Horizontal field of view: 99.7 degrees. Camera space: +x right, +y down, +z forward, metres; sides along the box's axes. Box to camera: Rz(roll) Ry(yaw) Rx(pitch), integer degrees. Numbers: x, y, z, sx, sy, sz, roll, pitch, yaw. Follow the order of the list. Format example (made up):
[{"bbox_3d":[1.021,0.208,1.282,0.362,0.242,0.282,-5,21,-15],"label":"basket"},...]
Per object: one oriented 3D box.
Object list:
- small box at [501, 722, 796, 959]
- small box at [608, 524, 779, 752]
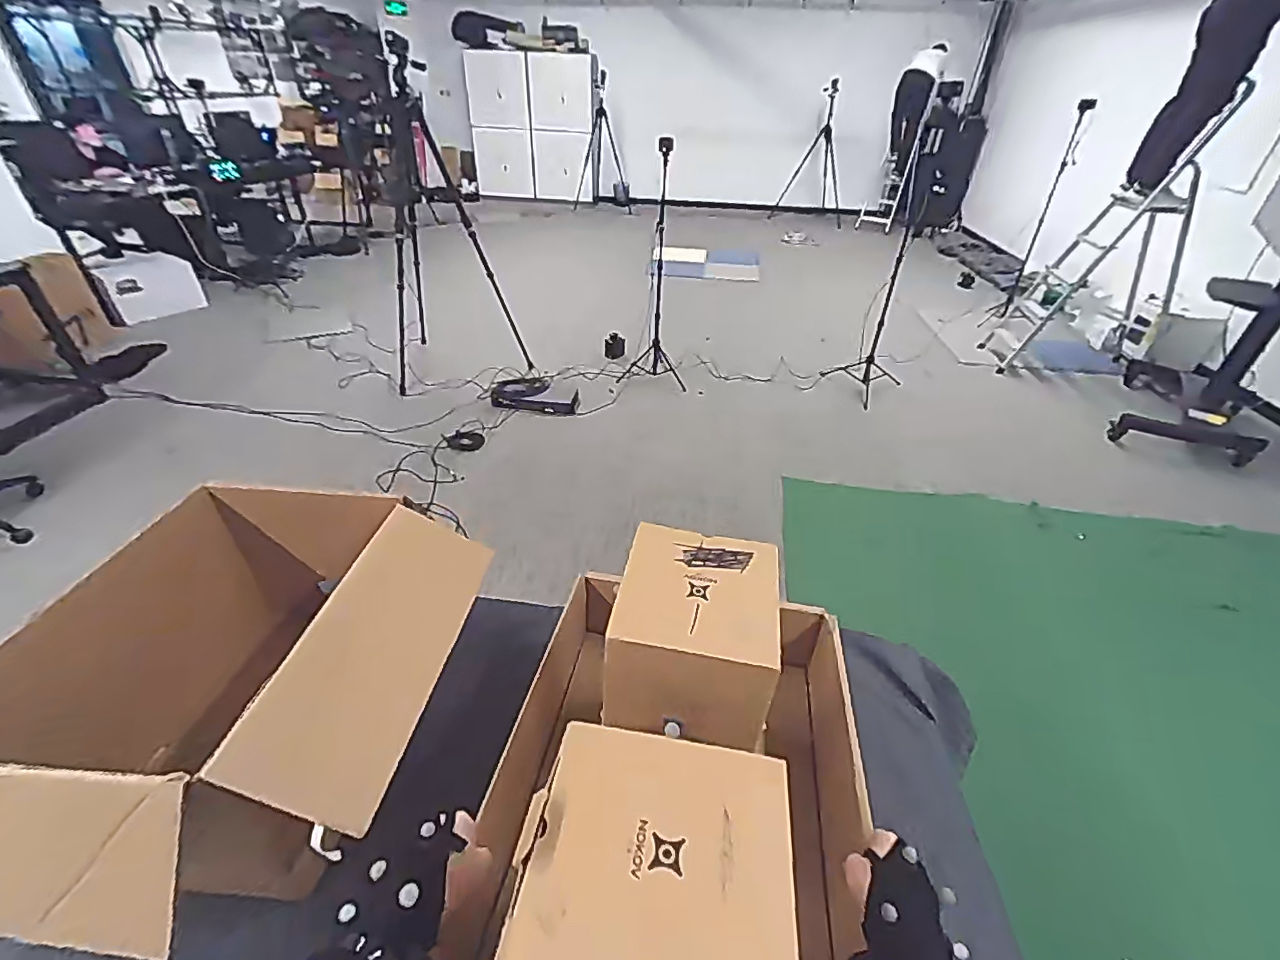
[{"bbox_3d":[0.011,0.320,0.413,0.179,0.176,0.168,8,34,6],"label":"small box"},{"bbox_3d":[0.060,0.181,0.620,0.168,0.176,0.179,9,37,8],"label":"small box"}]
